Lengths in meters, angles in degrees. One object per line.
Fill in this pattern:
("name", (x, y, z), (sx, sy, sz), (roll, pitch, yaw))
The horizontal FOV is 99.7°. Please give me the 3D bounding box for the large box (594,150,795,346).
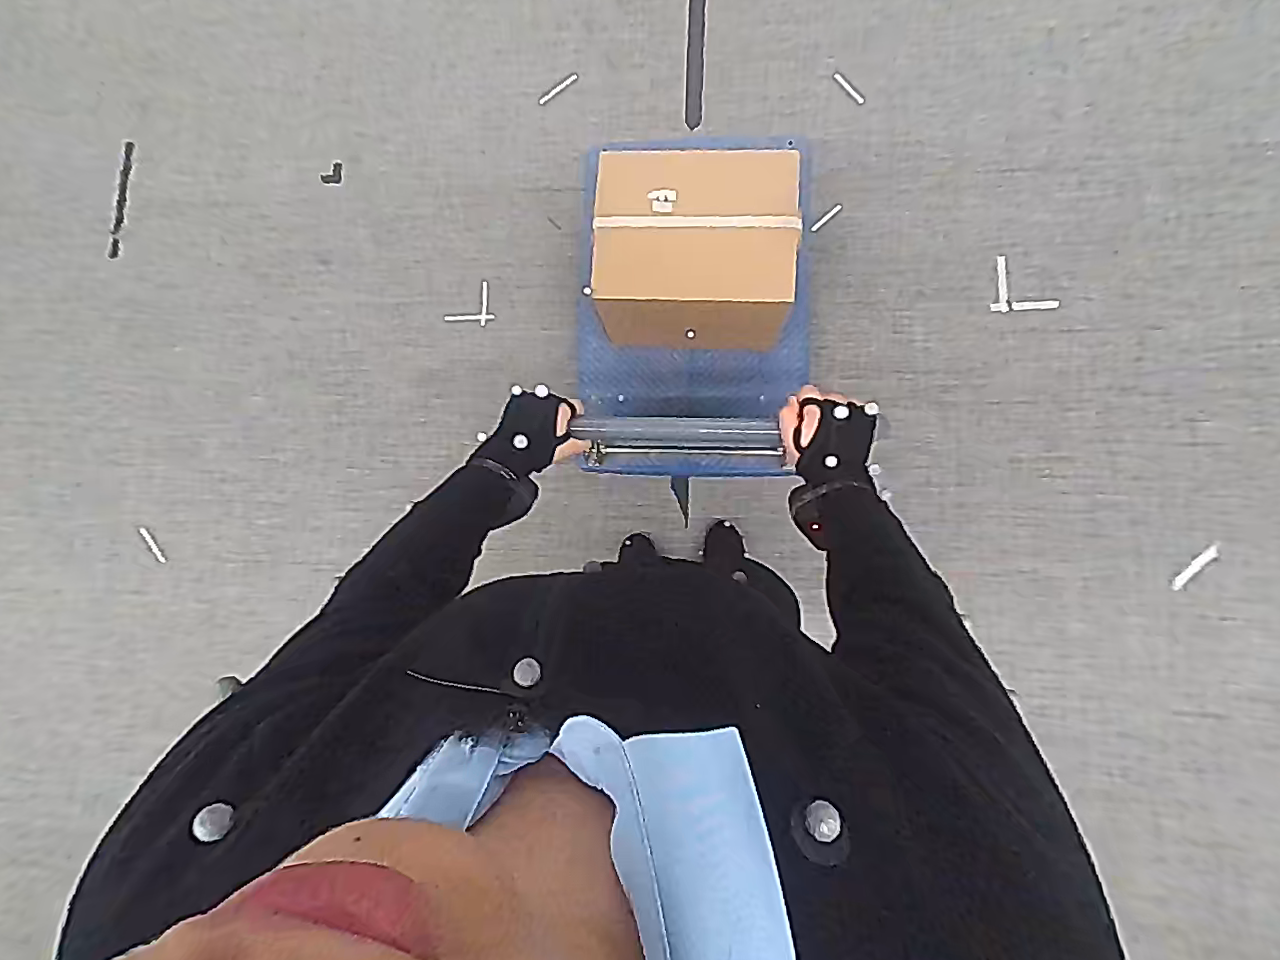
("large box", (0.126, -0.502, 1.237), (0.408, 0.320, 0.320), (3, 85, 6))
